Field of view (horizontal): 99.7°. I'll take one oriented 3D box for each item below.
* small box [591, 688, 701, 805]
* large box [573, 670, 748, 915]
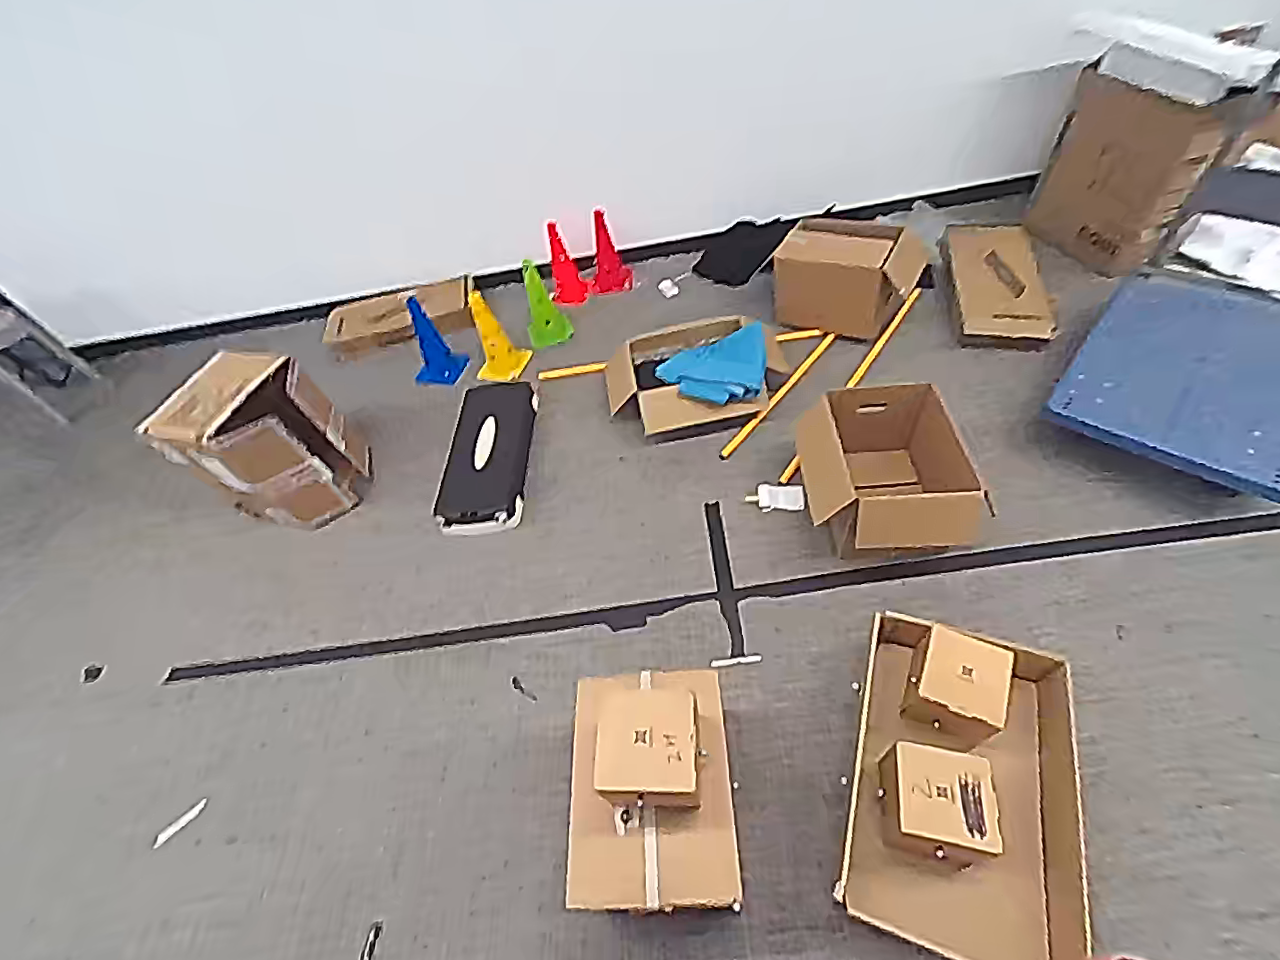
[{"bbox_3d":[0.019,0.492,0.995,0.179,0.176,0.168,-3,52,7],"label":"small box"},{"bbox_3d":[0.044,0.670,1.168,0.320,0.320,0.408,-8,52,6],"label":"large box"}]
